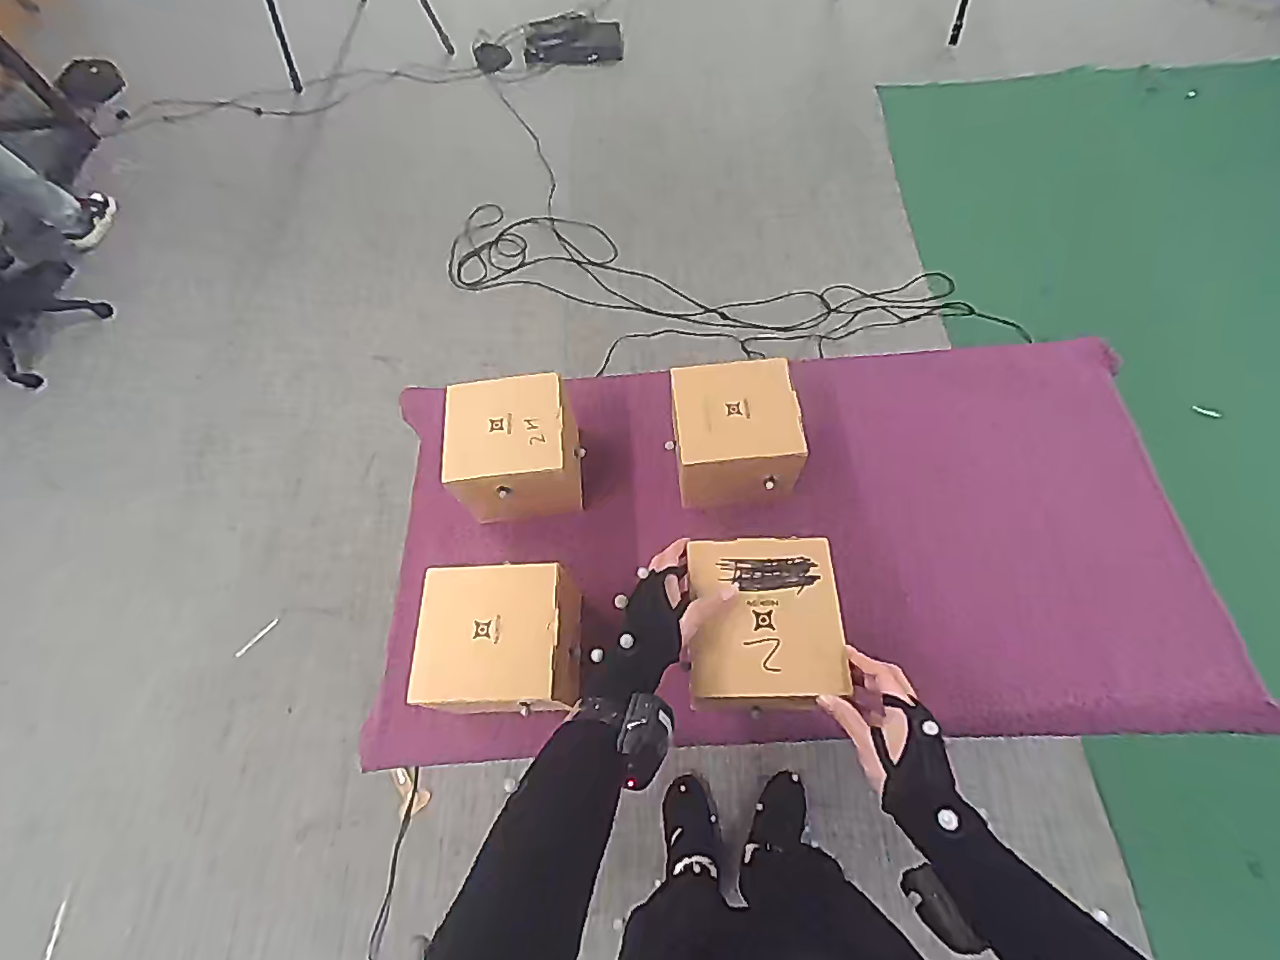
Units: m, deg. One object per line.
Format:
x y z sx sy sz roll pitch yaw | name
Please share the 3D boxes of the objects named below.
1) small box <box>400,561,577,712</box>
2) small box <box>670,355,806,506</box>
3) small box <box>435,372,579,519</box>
-0.188 0.216 0.726 0.179 0.176 0.168 -3 63 2 | small box
0.139 -0.070 0.835 0.179 0.176 0.168 -5 65 3 | small box
-0.198 -0.046 0.849 0.179 0.176 0.168 -6 65 1 | small box
